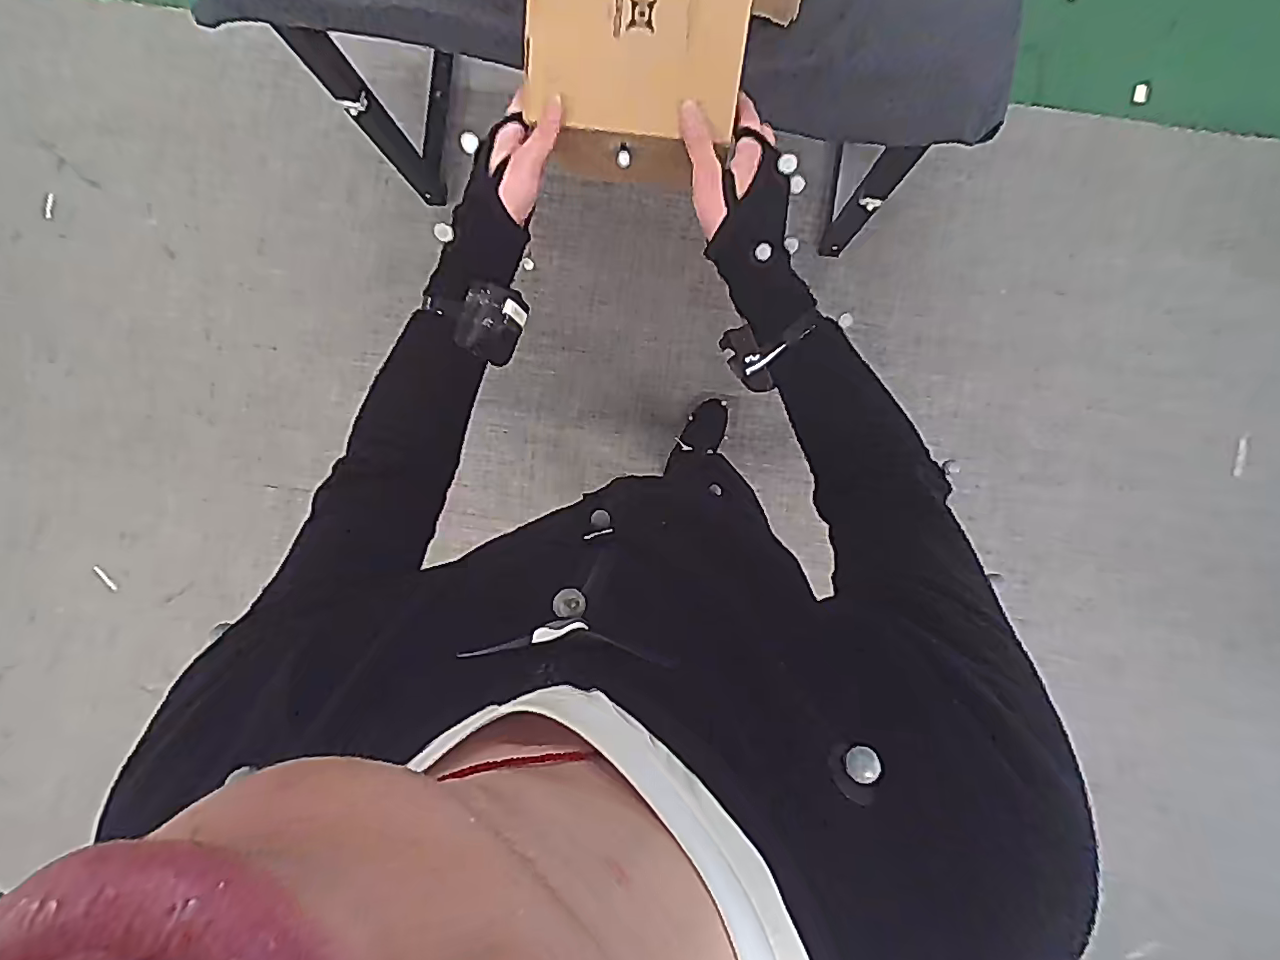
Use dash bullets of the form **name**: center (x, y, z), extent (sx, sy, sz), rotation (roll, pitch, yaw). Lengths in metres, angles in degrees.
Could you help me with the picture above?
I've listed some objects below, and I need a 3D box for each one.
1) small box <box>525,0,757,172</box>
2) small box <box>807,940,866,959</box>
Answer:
- **small box**: center (0.009, -0.394, 0.486), extent (0.179, 0.176, 0.168), rotation (8, 107, 2)
- **small box**: center (0.552, 1.423, 1.475), extent (0.168, 0.176, 0.179), rotation (10, 91, 1)
